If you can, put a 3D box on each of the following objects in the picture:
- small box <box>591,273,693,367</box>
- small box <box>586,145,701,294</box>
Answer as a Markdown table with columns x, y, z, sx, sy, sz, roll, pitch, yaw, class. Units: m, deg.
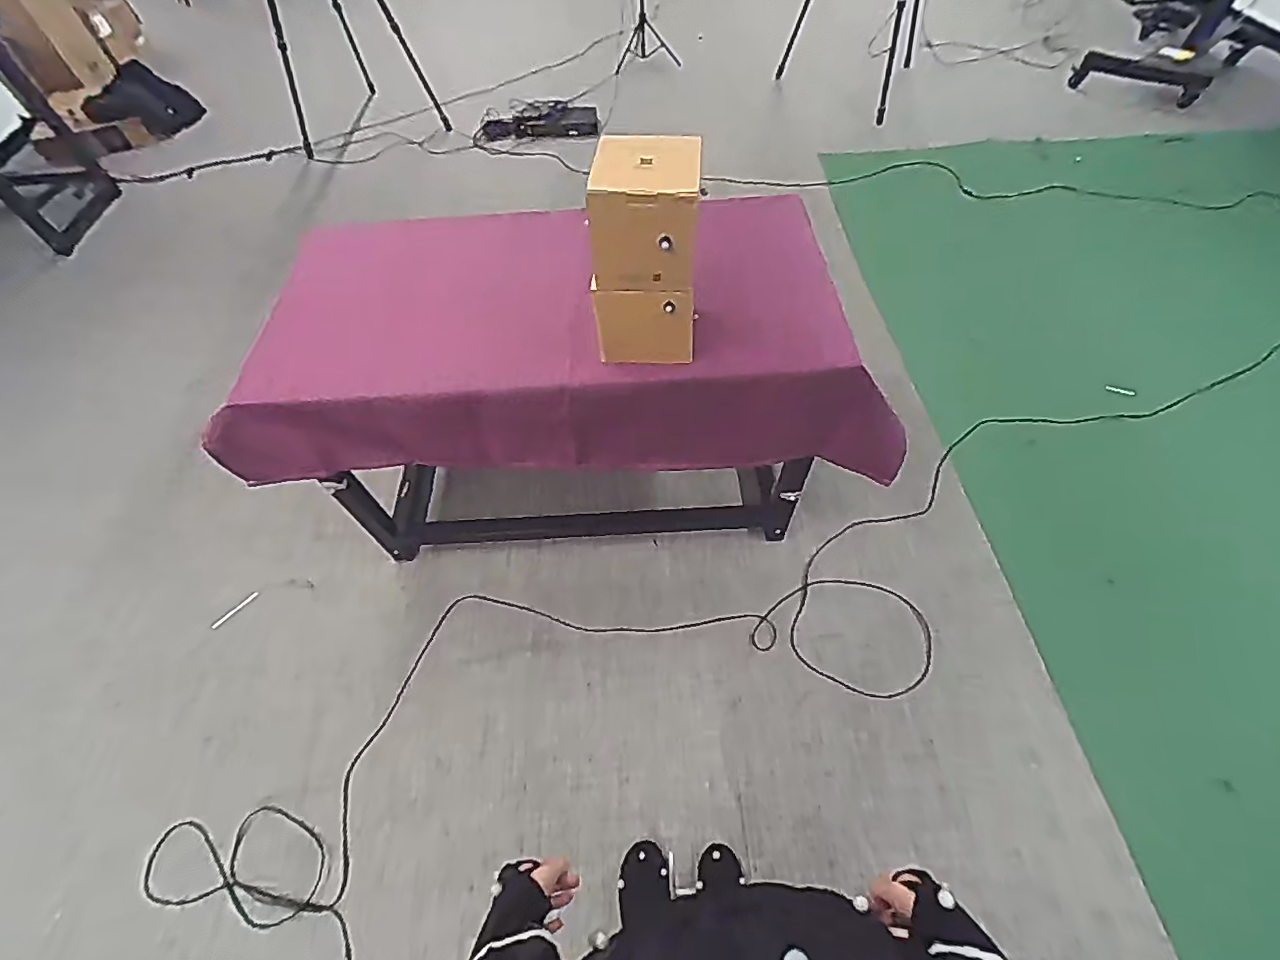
| x | y | z | sx | sy | sz | roll | pitch | yaw | class |
| --- | --- | --- | --- | --- | --- | --- | --- | --- | --- |
| 0.012 | -0.332 | 1.030 | 0.179 | 0.176 | 0.168 | 2 | 55 | 4 | small box |
| 0.012 | -0.430 | 0.899 | 0.168 | 0.176 | 0.179 | 4 | 54 | 5 | small box |
